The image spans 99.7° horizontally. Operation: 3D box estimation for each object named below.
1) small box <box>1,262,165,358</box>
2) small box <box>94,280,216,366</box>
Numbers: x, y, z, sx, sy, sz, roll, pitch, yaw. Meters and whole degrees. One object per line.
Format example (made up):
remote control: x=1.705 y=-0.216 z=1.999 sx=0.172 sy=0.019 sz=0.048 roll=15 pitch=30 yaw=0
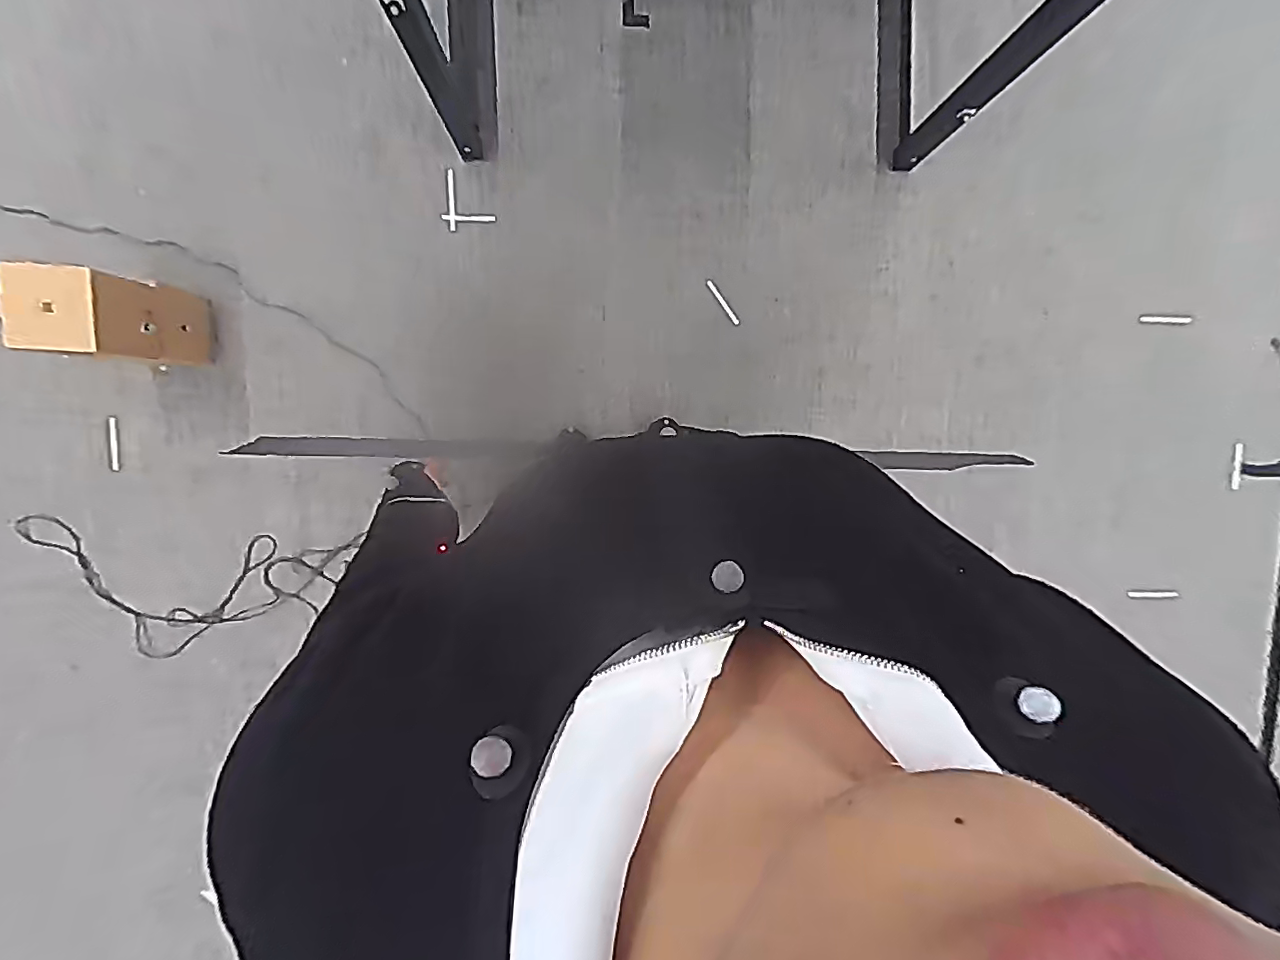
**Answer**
small box: x=-1.163 y=-0.350 z=1.142 sx=0.179 sy=0.176 sz=0.168 roll=1 pitch=97 yaw=-5
small box: x=-1.169 y=-0.372 z=1.304 sx=0.168 sy=0.176 sz=0.179 roll=-1 pitch=97 yaw=-4
